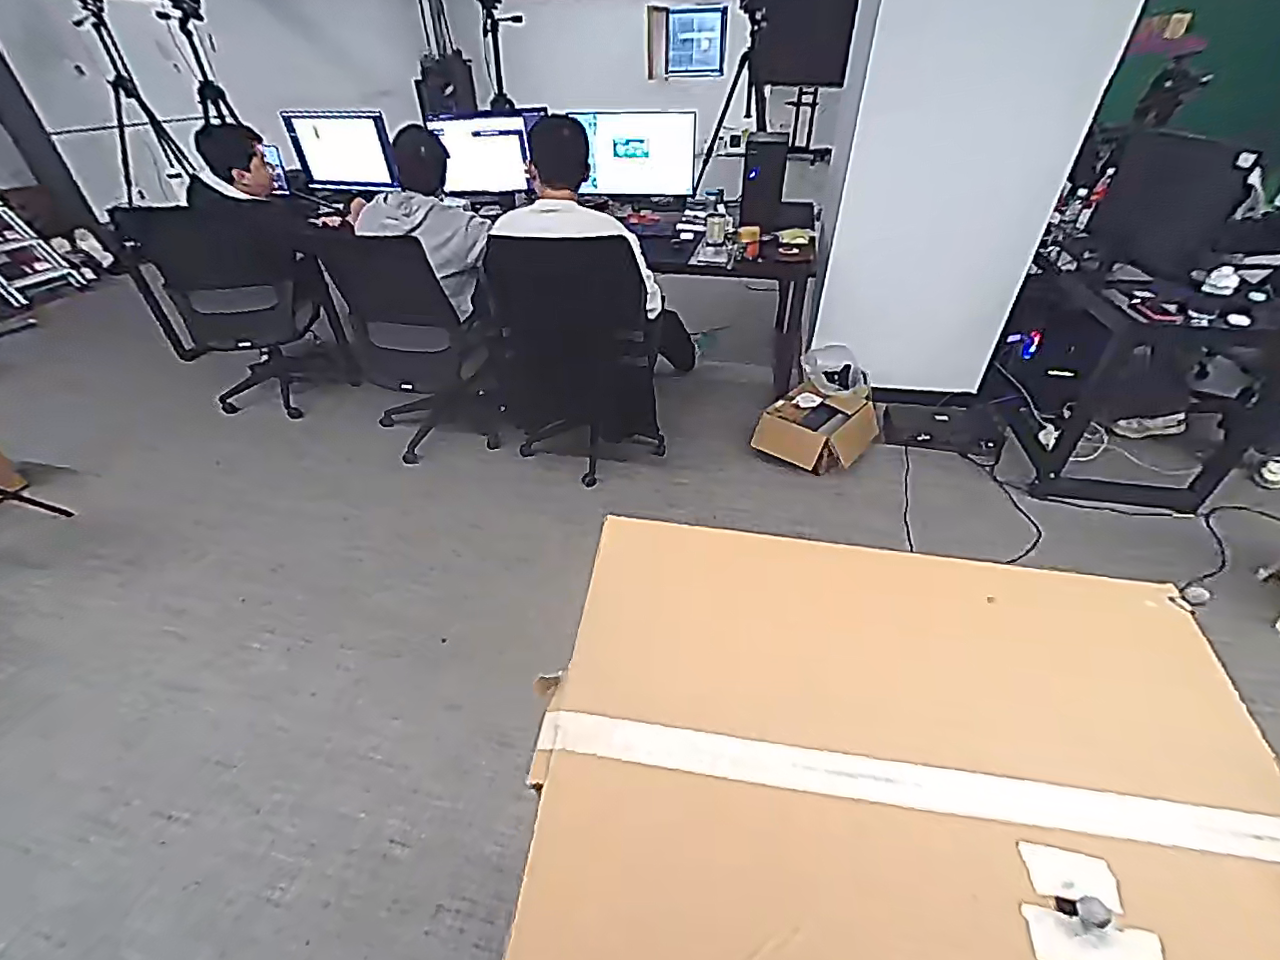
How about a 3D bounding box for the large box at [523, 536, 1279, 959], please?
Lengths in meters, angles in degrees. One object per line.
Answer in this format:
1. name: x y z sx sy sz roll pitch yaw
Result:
1. large box: 0.148 0.273 0.420 0.408 0.320 0.320 7 51 4
